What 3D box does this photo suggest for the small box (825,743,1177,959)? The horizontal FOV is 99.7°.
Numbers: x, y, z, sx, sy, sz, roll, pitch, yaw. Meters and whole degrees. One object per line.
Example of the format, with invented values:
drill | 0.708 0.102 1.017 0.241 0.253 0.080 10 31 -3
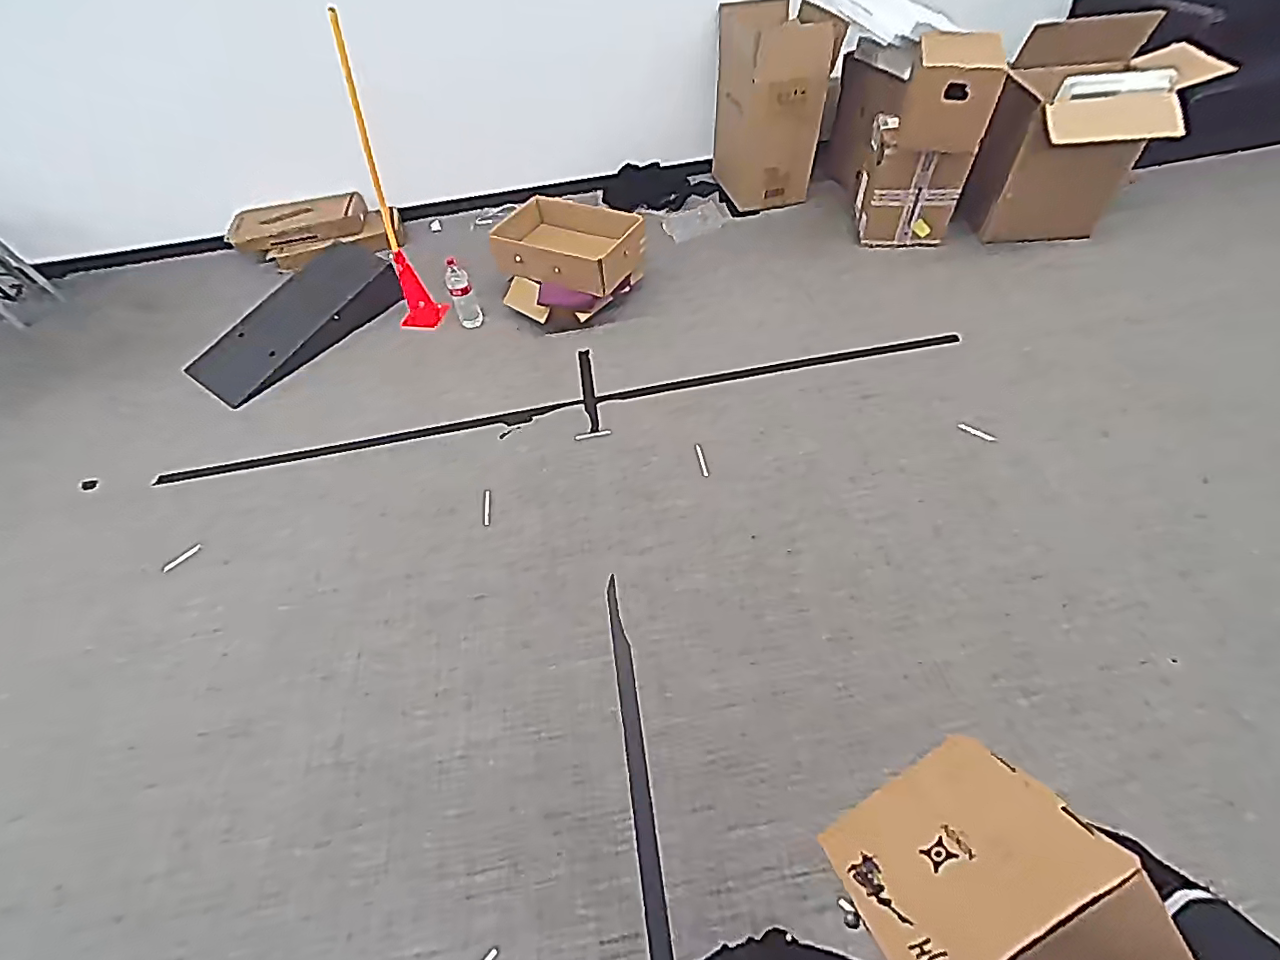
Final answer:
small box | 0.296 0.372 0.447 0.179 0.168 0.176 -33 96 -2
